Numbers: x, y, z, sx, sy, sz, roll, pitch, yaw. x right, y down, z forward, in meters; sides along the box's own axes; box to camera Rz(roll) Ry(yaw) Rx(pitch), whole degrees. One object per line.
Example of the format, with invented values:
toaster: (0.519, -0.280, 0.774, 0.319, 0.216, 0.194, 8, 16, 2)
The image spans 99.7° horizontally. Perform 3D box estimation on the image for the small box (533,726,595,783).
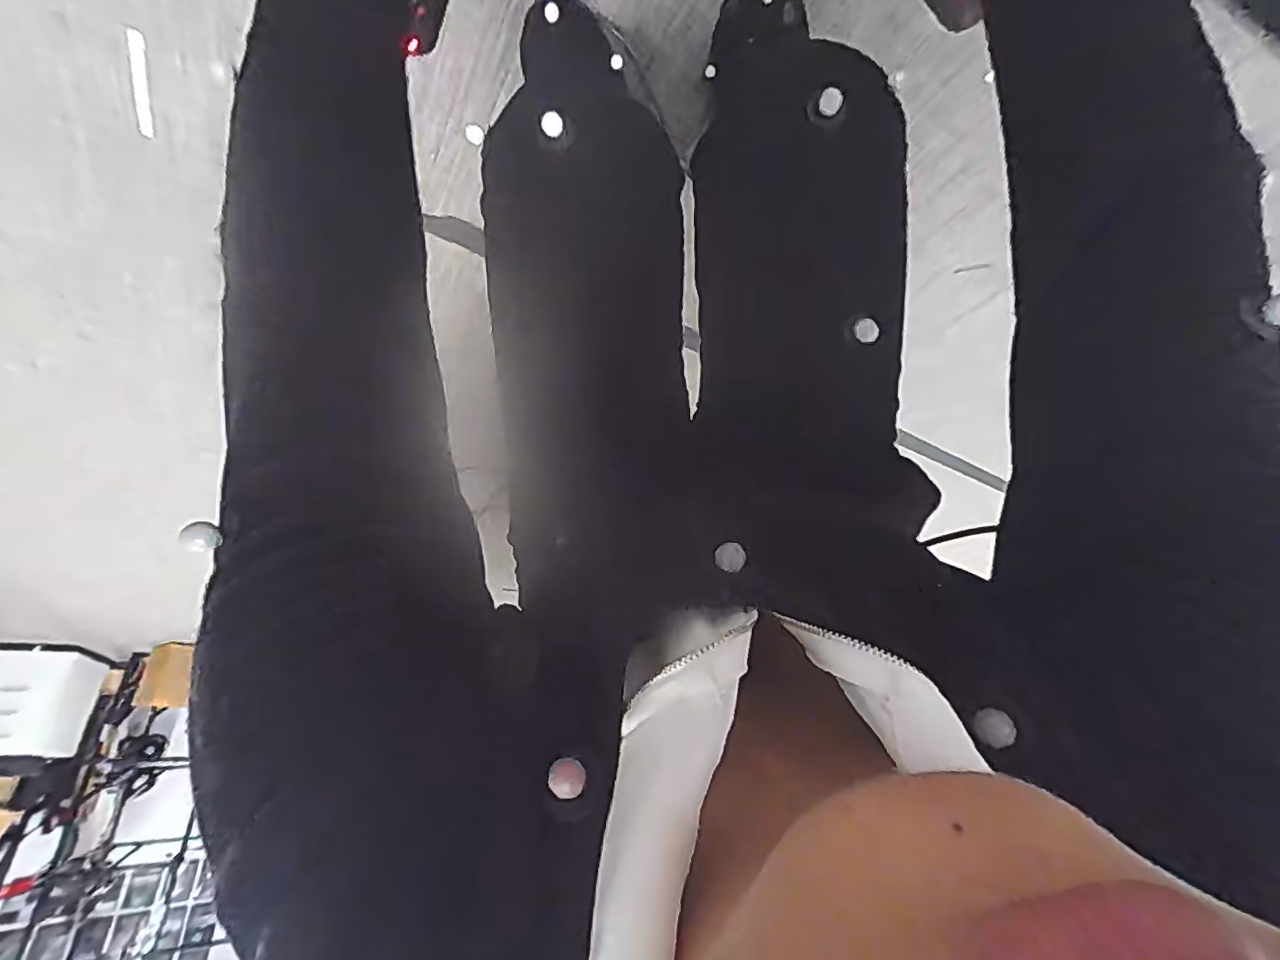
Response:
small box: (-0.271, 0.973, 1.917, 0.179, 0.176, 0.168, 11, 146, -23)
